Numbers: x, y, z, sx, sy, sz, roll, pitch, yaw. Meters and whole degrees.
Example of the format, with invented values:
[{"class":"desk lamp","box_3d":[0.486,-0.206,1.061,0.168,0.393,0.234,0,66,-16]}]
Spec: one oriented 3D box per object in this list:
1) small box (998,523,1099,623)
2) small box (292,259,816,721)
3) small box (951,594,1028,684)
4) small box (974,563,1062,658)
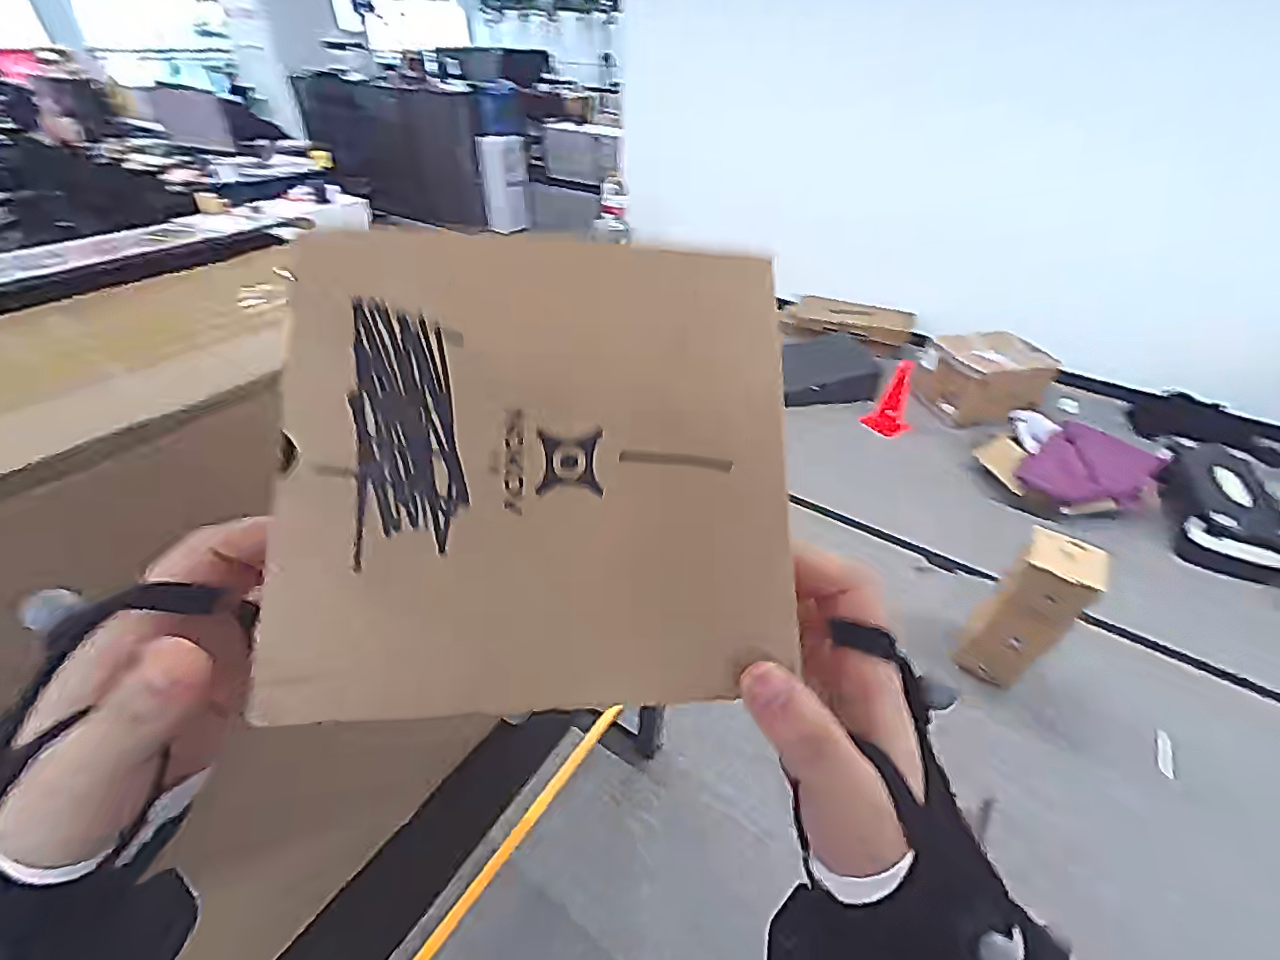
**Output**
[{"class":"small box","box_3d":[1.116,0.257,1.486,0.168,0.176,0.179,25,45,26]},{"class":"small box","box_3d":[-0.033,0.013,0.272,0.179,0.176,0.168,1,80,-6]},{"class":"small box","box_3d":[1.109,0.502,1.705,0.168,0.176,0.179,24,46,25]},{"class":"small box","box_3d":[1.114,0.382,1.591,0.168,0.176,0.179,24,45,26]}]
